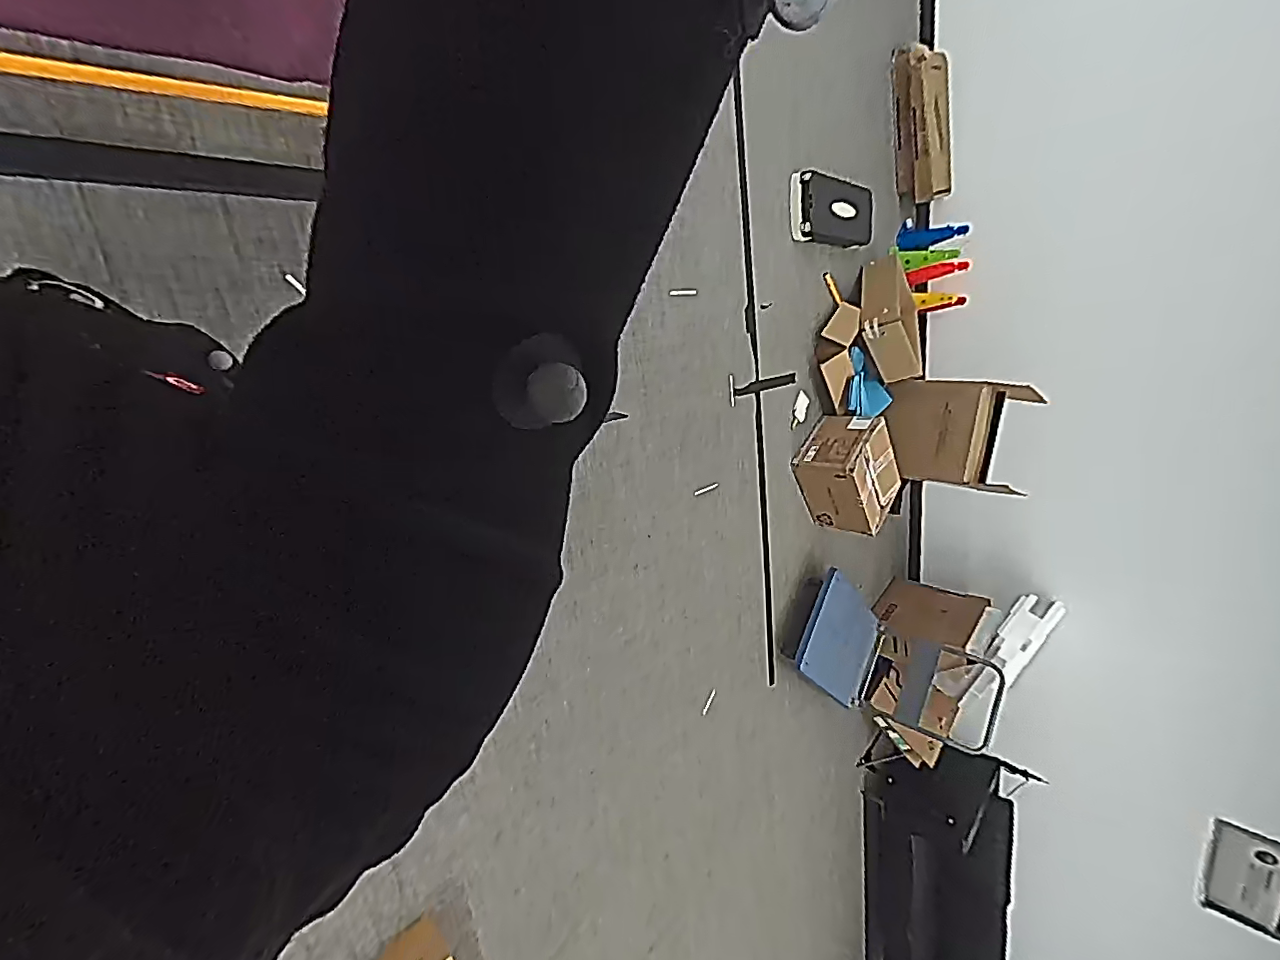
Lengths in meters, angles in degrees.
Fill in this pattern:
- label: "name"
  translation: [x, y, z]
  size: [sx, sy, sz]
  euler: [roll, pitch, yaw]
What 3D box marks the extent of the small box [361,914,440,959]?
- label: "small box"
  translation: [-0.668, 1.392, 1.514]
  size: [0.179, 0.176, 0.168]
  euler: [-22, 112, -42]
